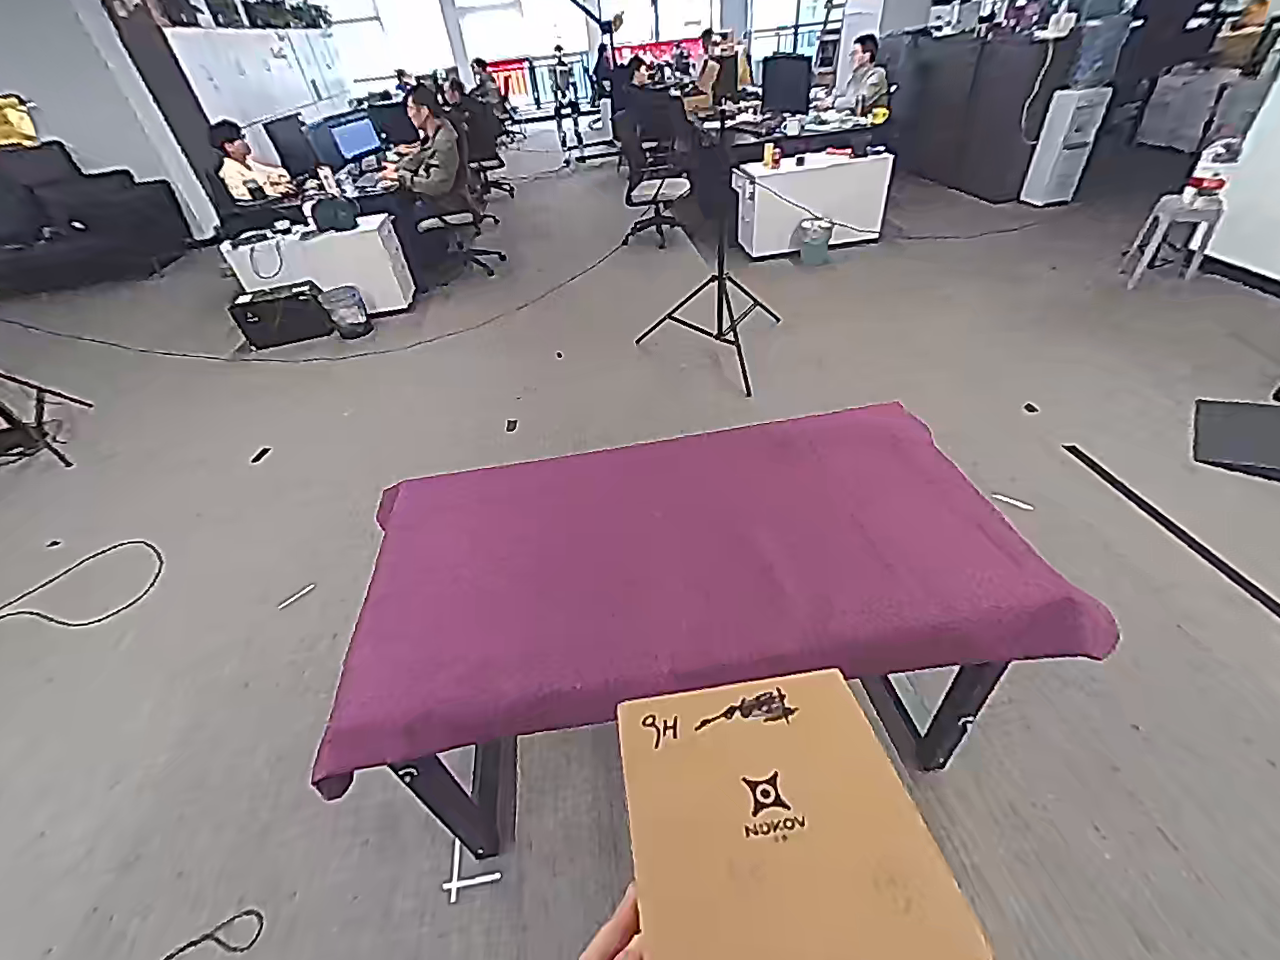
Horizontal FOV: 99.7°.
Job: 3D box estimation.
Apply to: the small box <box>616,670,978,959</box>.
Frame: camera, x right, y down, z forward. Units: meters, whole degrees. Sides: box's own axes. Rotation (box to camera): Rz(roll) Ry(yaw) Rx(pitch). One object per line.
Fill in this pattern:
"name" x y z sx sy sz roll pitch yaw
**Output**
"small box" 0.079 0.262 0.364 0.168 0.176 0.179 -7 32 -4
